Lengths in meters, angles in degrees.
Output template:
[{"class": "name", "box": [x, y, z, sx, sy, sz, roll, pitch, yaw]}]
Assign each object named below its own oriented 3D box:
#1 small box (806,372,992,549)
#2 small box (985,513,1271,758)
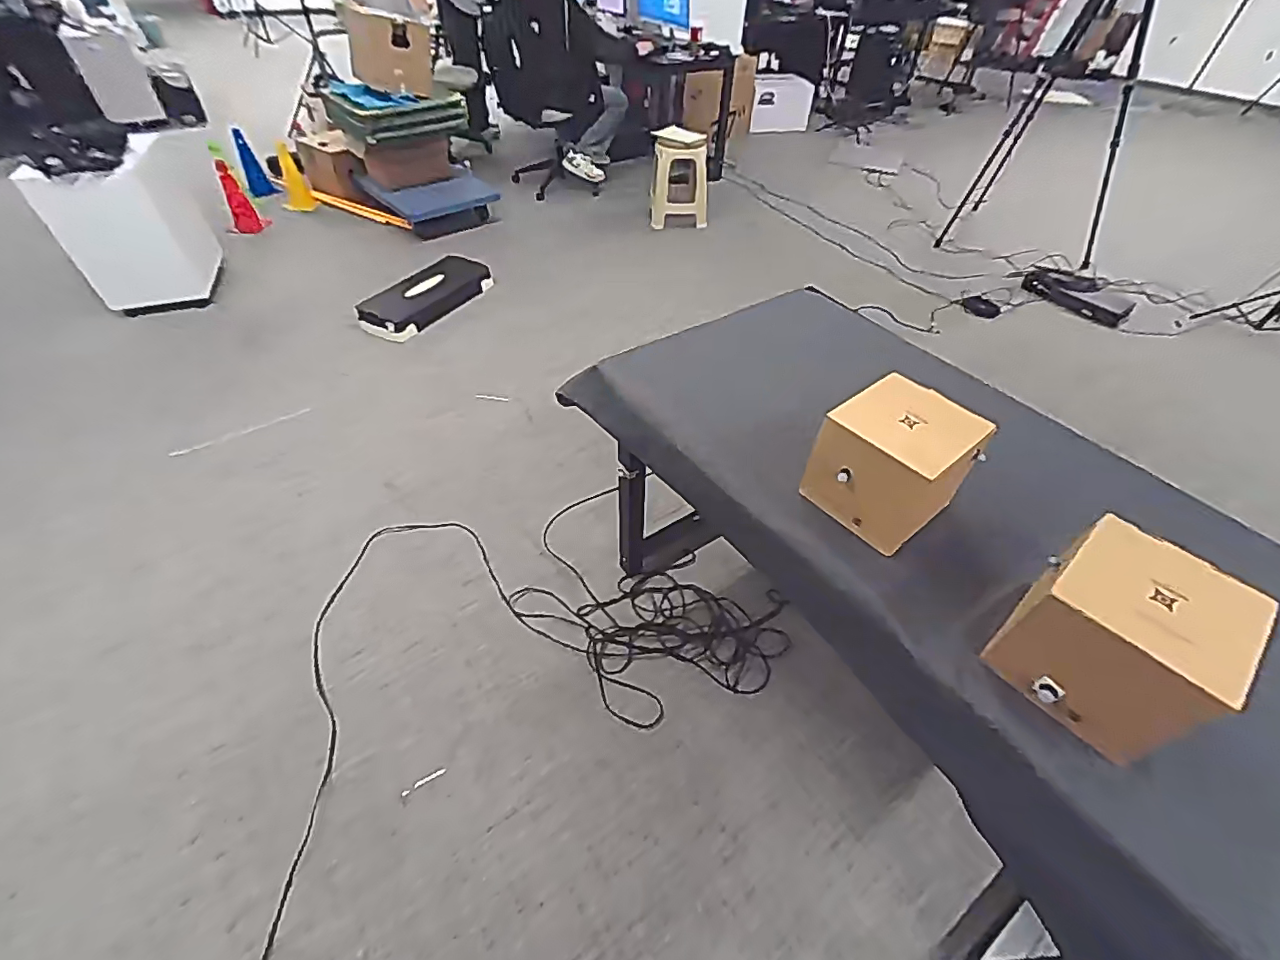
[{"class": "small box", "box": [0.372, -0.028, 0.811, 0.179, 0.176, 0.168, -30, 55, -28]}, {"class": "small box", "box": [0.543, 0.177, 0.624, 0.179, 0.176, 0.168, -32, 54, -28]}]
